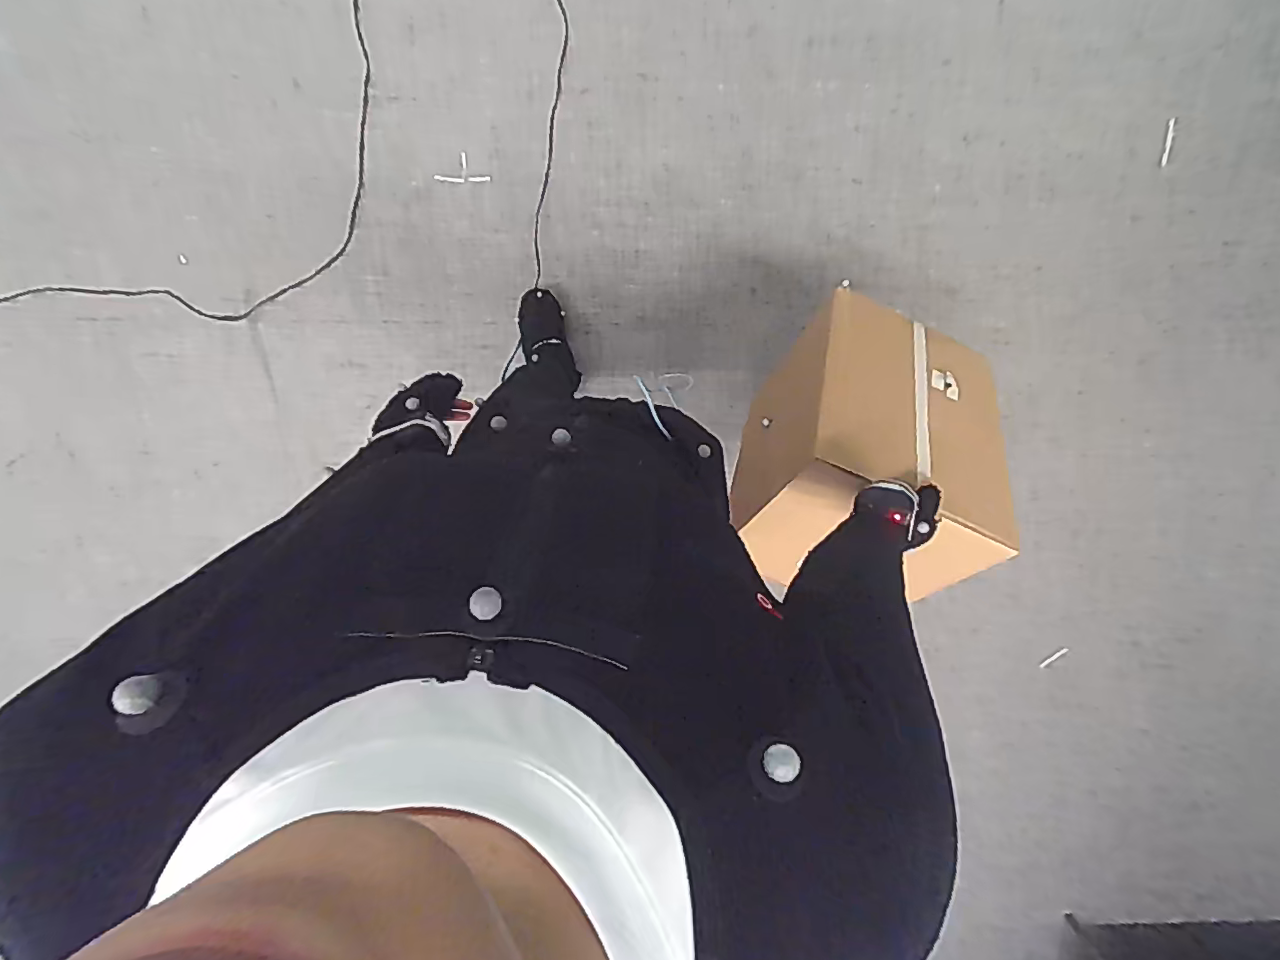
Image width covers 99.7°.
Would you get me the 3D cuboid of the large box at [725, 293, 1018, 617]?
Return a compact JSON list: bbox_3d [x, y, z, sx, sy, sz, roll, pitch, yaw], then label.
[{"bbox_3d":[0.376,-0.036,0.944,0.320,0.408,0.320,24,143,-5],"label":"large box"}]
